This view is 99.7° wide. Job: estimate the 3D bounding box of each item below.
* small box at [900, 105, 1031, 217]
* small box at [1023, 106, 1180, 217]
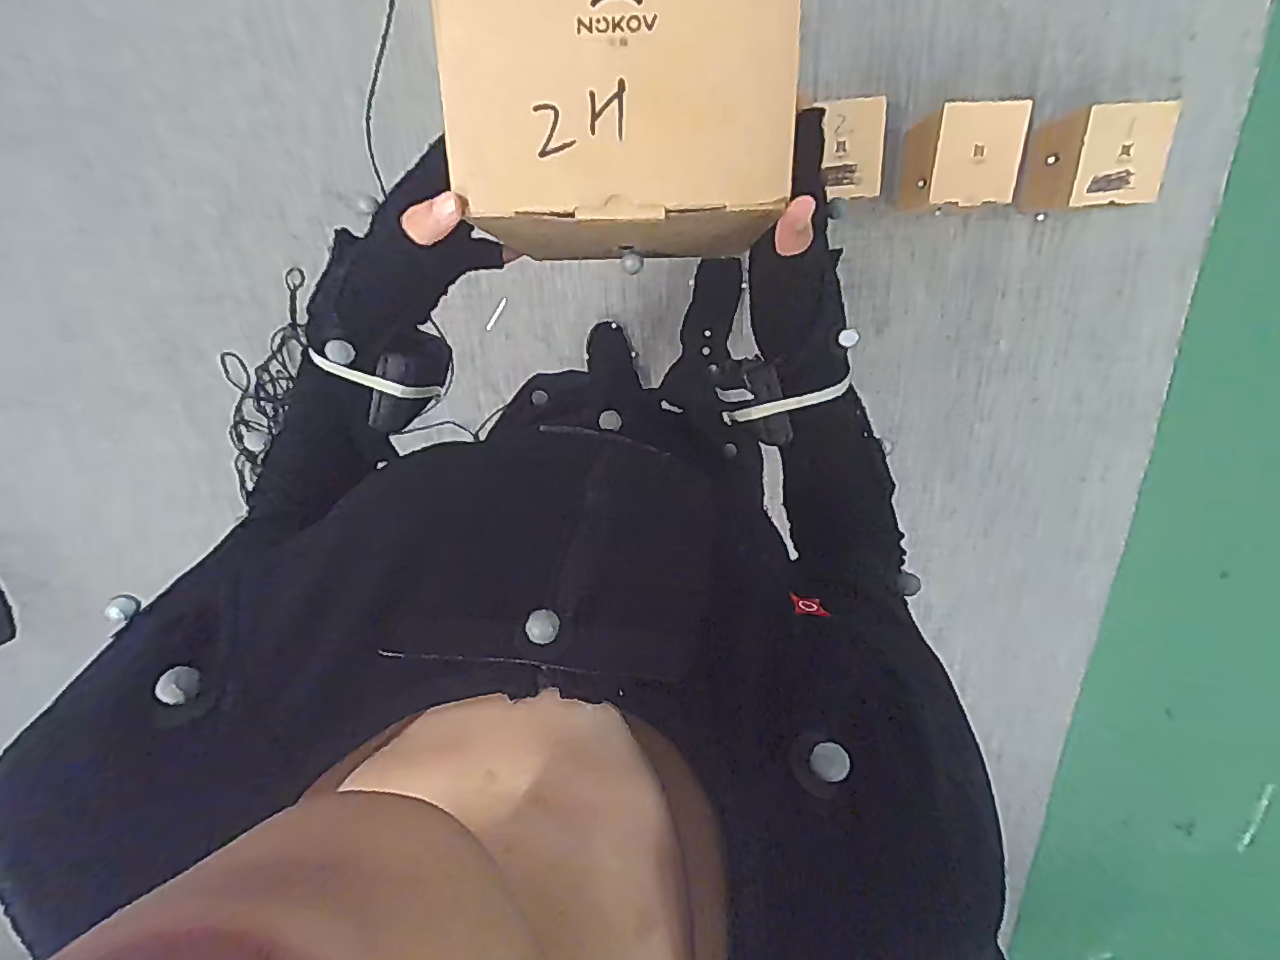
[{"bbox_3d":[0.666,-0.659,1.132,0.168,0.176,0.179,0,111,3],"label":"small box"},{"bbox_3d":[0.935,-0.647,1.118,0.168,0.176,0.179,0,110,4],"label":"small box"}]
